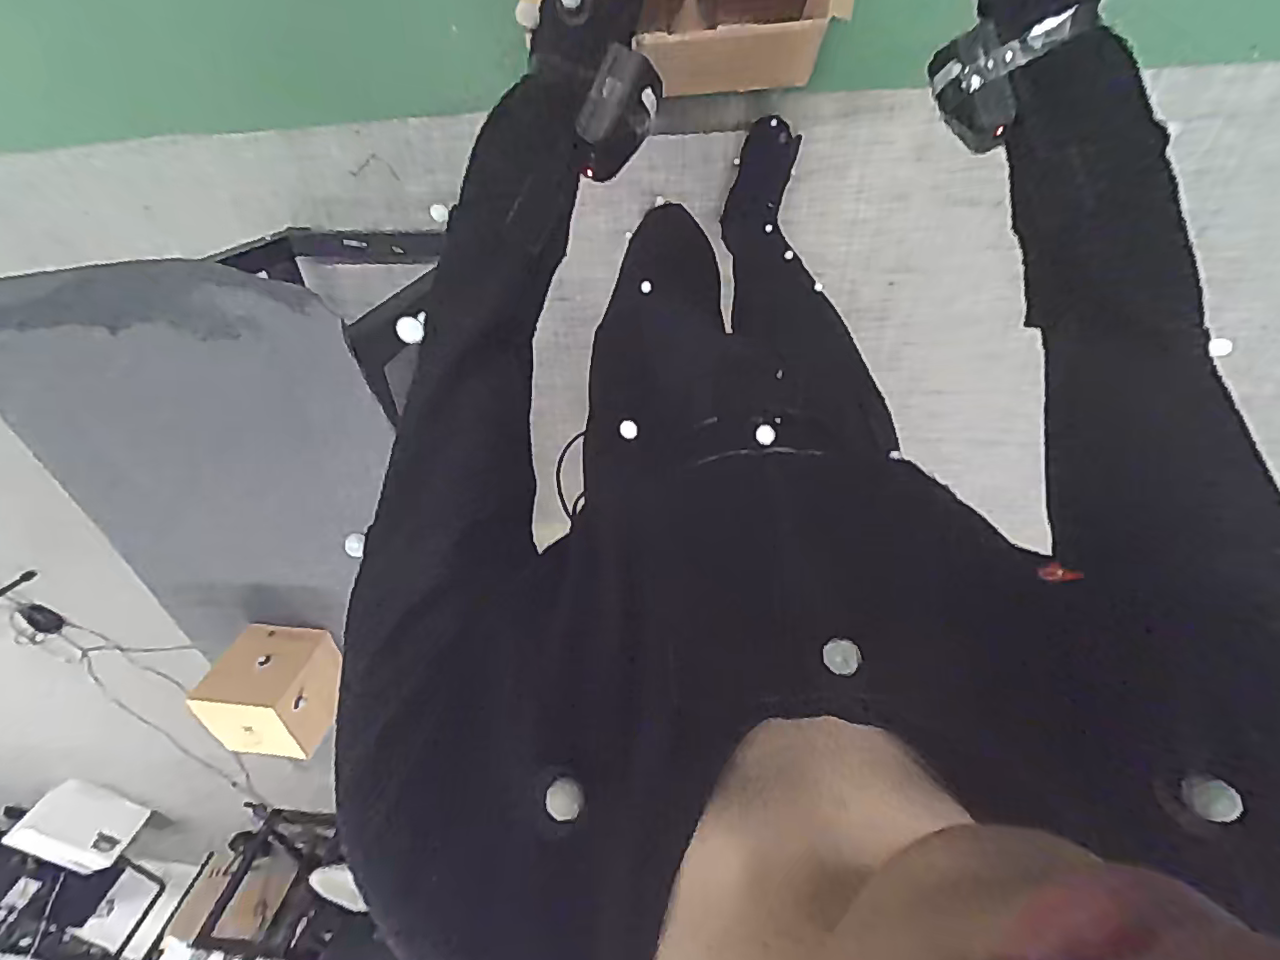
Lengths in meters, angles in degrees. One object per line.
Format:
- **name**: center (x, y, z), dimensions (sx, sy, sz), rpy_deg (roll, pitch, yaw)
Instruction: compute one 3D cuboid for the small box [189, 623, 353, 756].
- **small box**: center (-0.689, 0.396, 1.035), dimensions (0.168, 0.176, 0.179), rpy_deg (4, 127, 5)
